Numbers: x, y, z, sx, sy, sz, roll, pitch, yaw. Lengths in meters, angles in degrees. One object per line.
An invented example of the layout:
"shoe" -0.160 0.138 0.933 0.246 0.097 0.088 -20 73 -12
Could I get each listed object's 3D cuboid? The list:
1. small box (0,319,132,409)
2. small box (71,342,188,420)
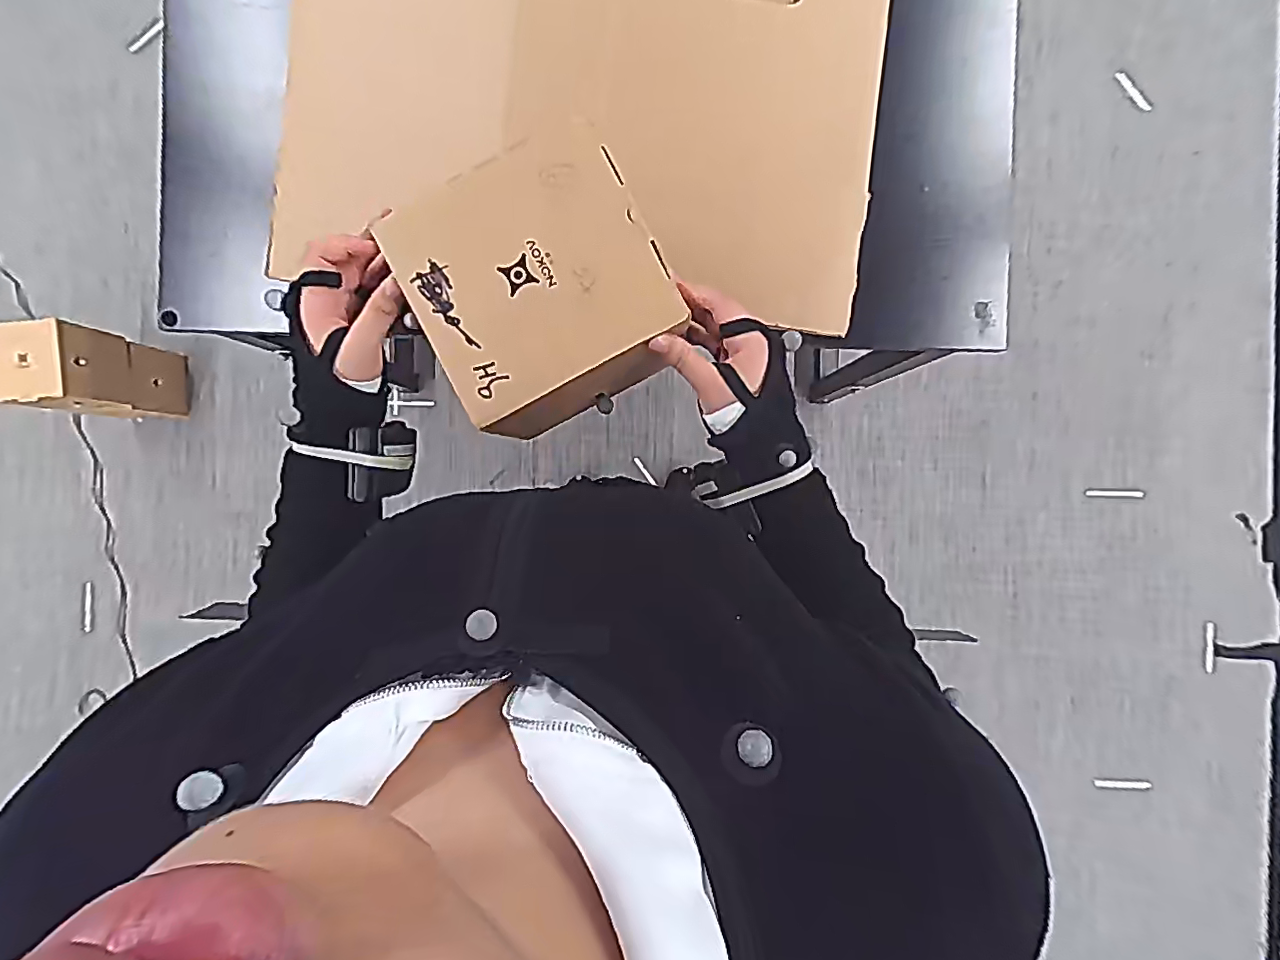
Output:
"small box" -1.354 -0.264 1.273 0.168 0.176 0.179 -5 90 0
"small box" -1.351 -0.259 1.436 0.168 0.176 0.179 -3 91 1
